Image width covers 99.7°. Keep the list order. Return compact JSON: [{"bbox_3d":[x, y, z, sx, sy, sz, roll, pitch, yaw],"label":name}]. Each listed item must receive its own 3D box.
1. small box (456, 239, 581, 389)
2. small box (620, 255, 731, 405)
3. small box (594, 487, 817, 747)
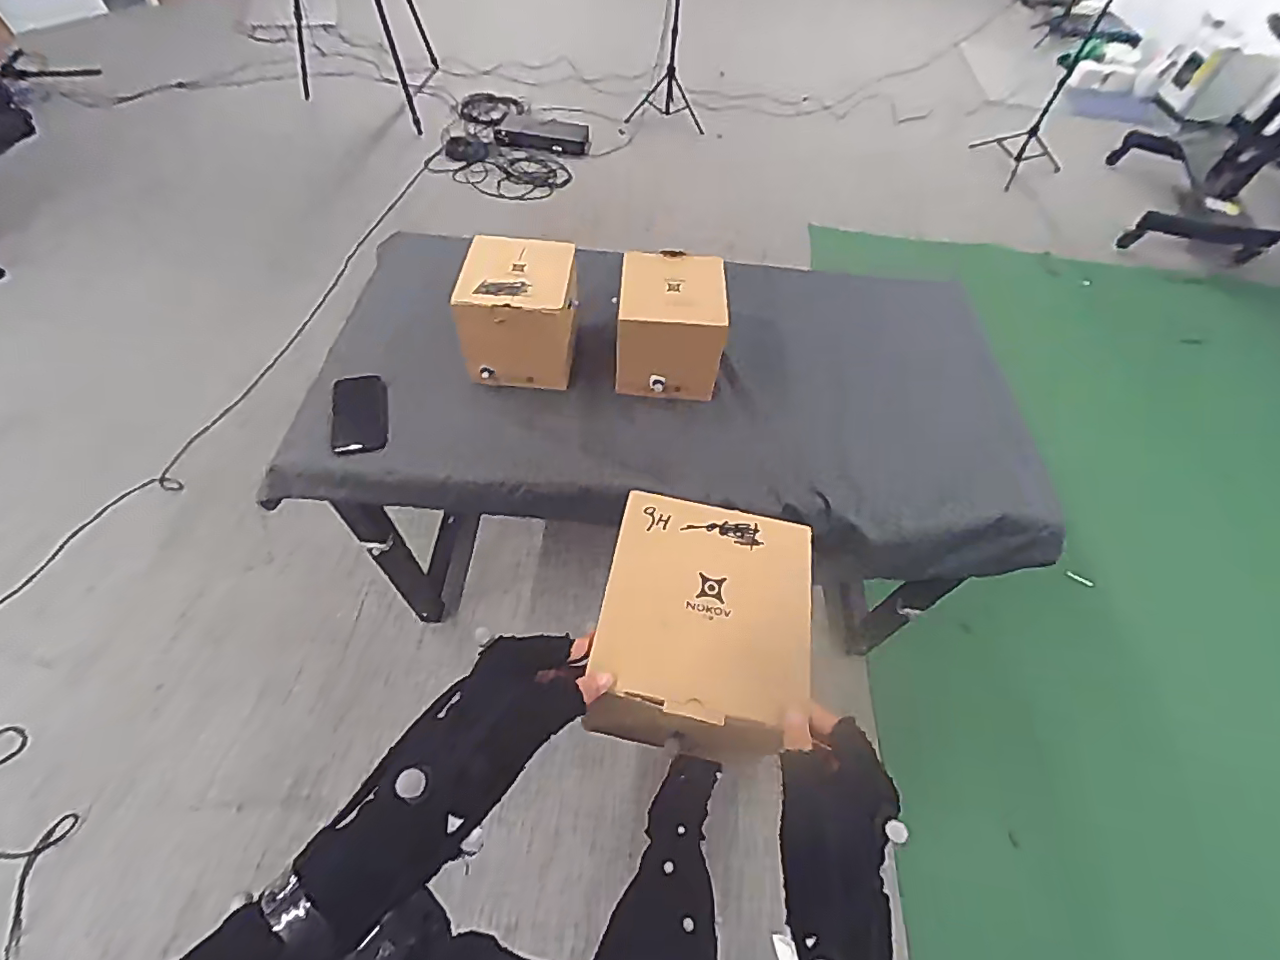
[{"bbox_3d":[-0.191,-0.273,0.908,0.168,0.176,0.179,5,54,-2],"label":"small box"},{"bbox_3d":[0.054,-0.252,0.918,0.168,0.176,0.179,3,57,-2],"label":"small box"},{"bbox_3d":[0.057,0.137,0.511,0.168,0.176,0.179,12,56,2],"label":"small box"}]
